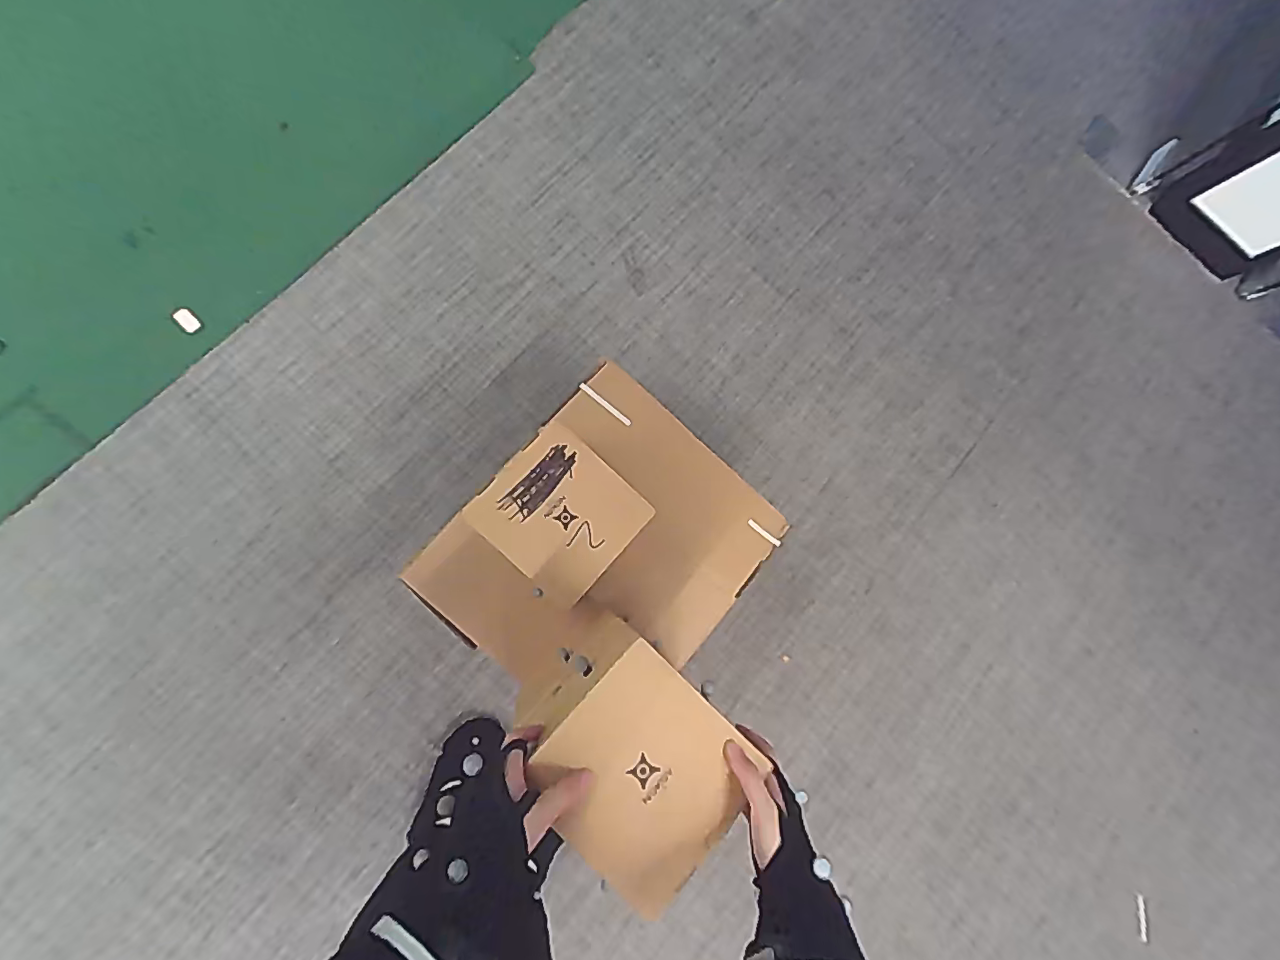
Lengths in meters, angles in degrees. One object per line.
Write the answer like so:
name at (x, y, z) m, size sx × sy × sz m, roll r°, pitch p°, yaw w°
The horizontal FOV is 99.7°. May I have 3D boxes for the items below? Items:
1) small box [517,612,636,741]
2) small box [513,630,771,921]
small box at (-0.044, 0.293, 0.711) m, size 0.168 × 0.176 × 0.179 m, roll 44°, pitch 77°, yaw -3°
small box at (-0.009, 0.271, 0.551) m, size 0.179 × 0.176 × 0.168 m, roll 45°, pitch 76°, yaw -3°
